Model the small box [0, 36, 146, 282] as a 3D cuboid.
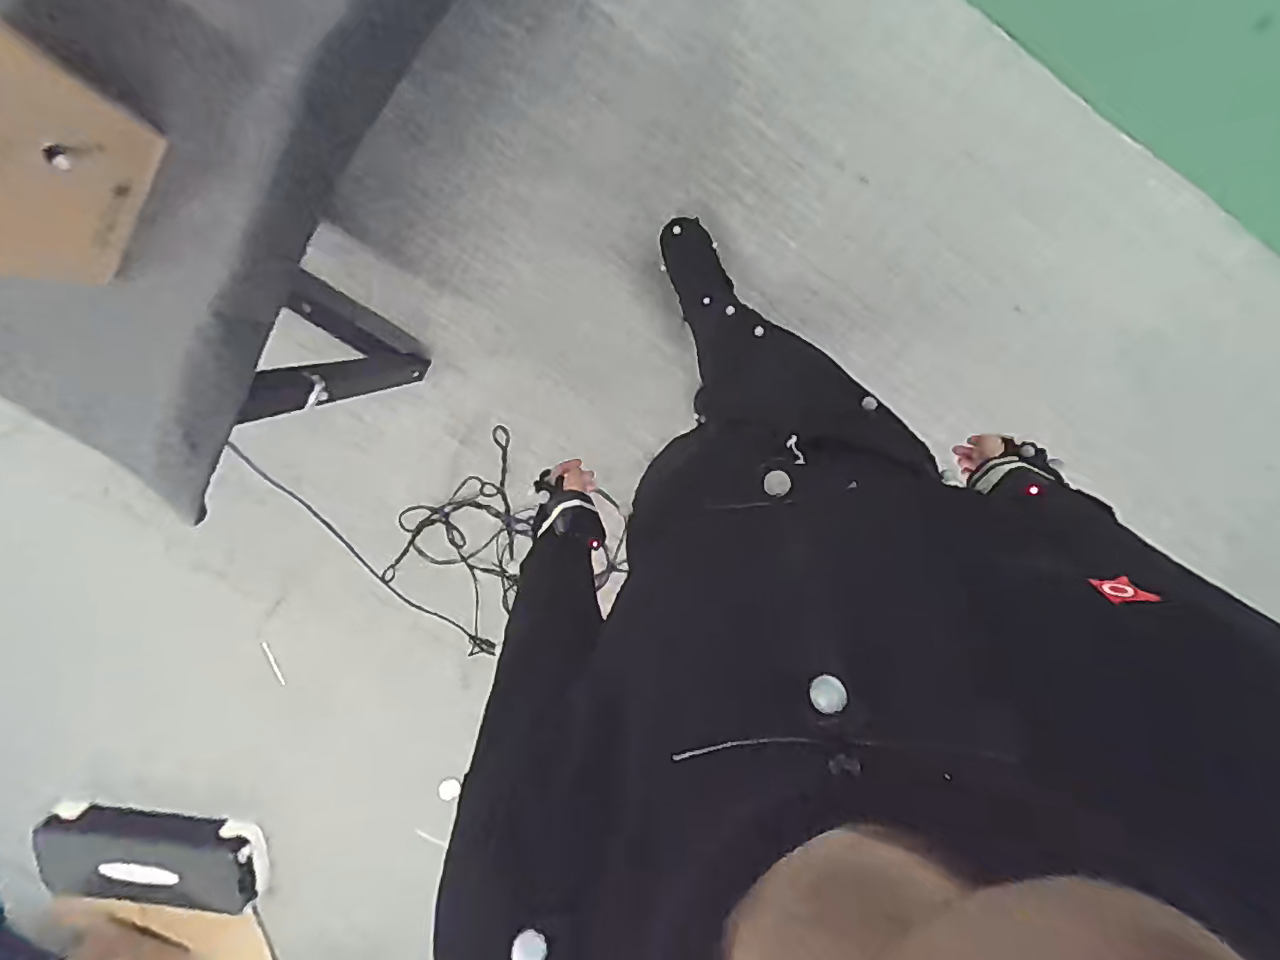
[{"bbox_3d":[-0.572,-0.280,0.438,0.179,0.176,0.168,35,103,-6],"label":"small box"}]
